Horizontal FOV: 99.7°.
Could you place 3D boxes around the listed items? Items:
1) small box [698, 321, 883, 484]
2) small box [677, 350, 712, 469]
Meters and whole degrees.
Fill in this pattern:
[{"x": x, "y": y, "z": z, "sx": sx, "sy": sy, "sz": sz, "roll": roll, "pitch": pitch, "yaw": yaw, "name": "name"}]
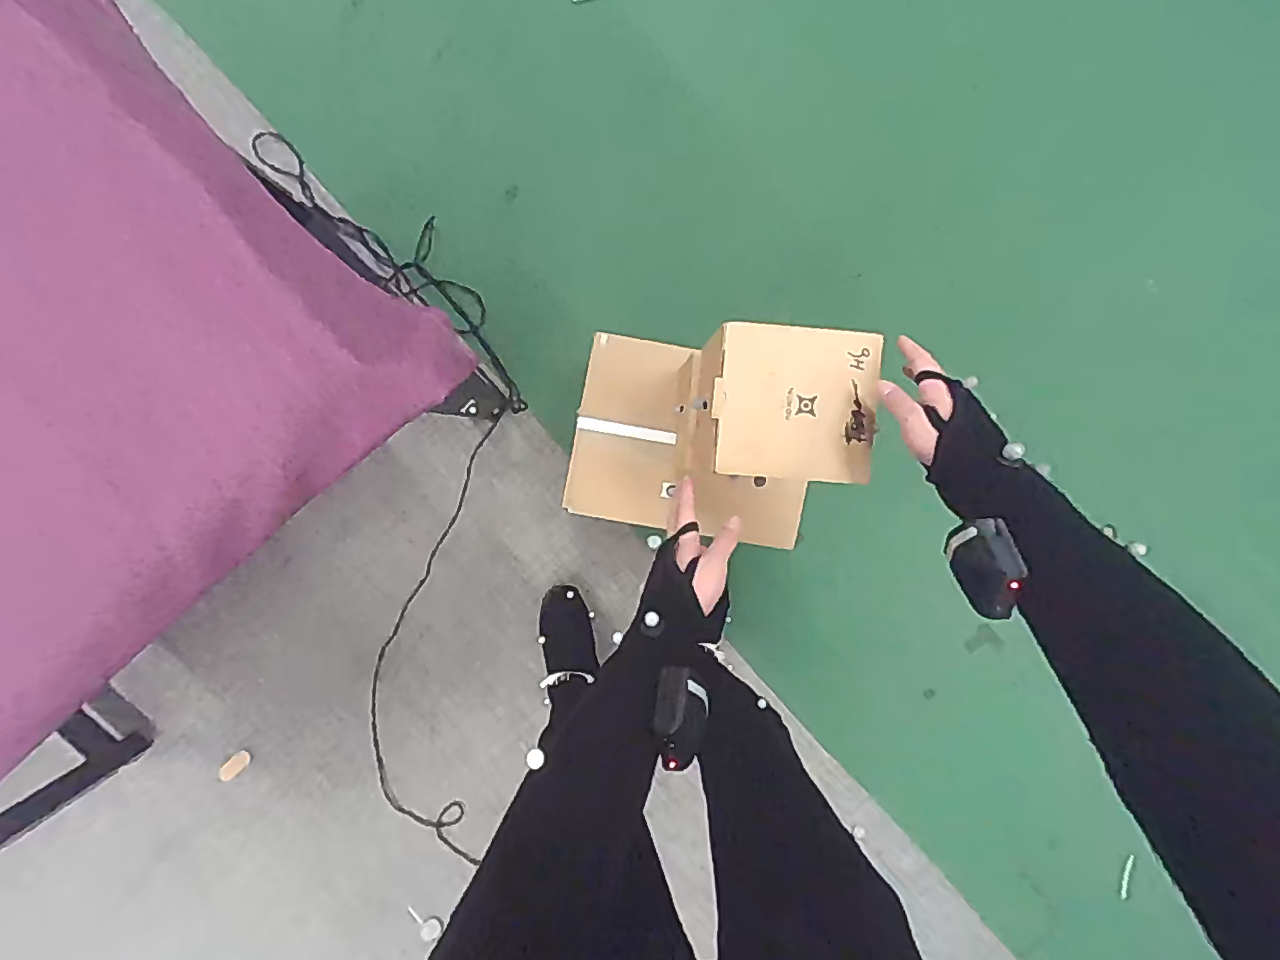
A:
[{"x": 0.169, "y": -0.086, "z": 0.665, "sx": 0.179, "sy": 0.176, "sz": 0.168, "roll": 5, "pitch": 93, "yaw": -1, "name": "small box"}, {"x": 0.154, "y": -0.095, "z": 0.828, "sx": 0.179, "sy": 0.176, "sz": 0.168, "roll": 4, "pitch": 93, "yaw": -2, "name": "small box"}]
